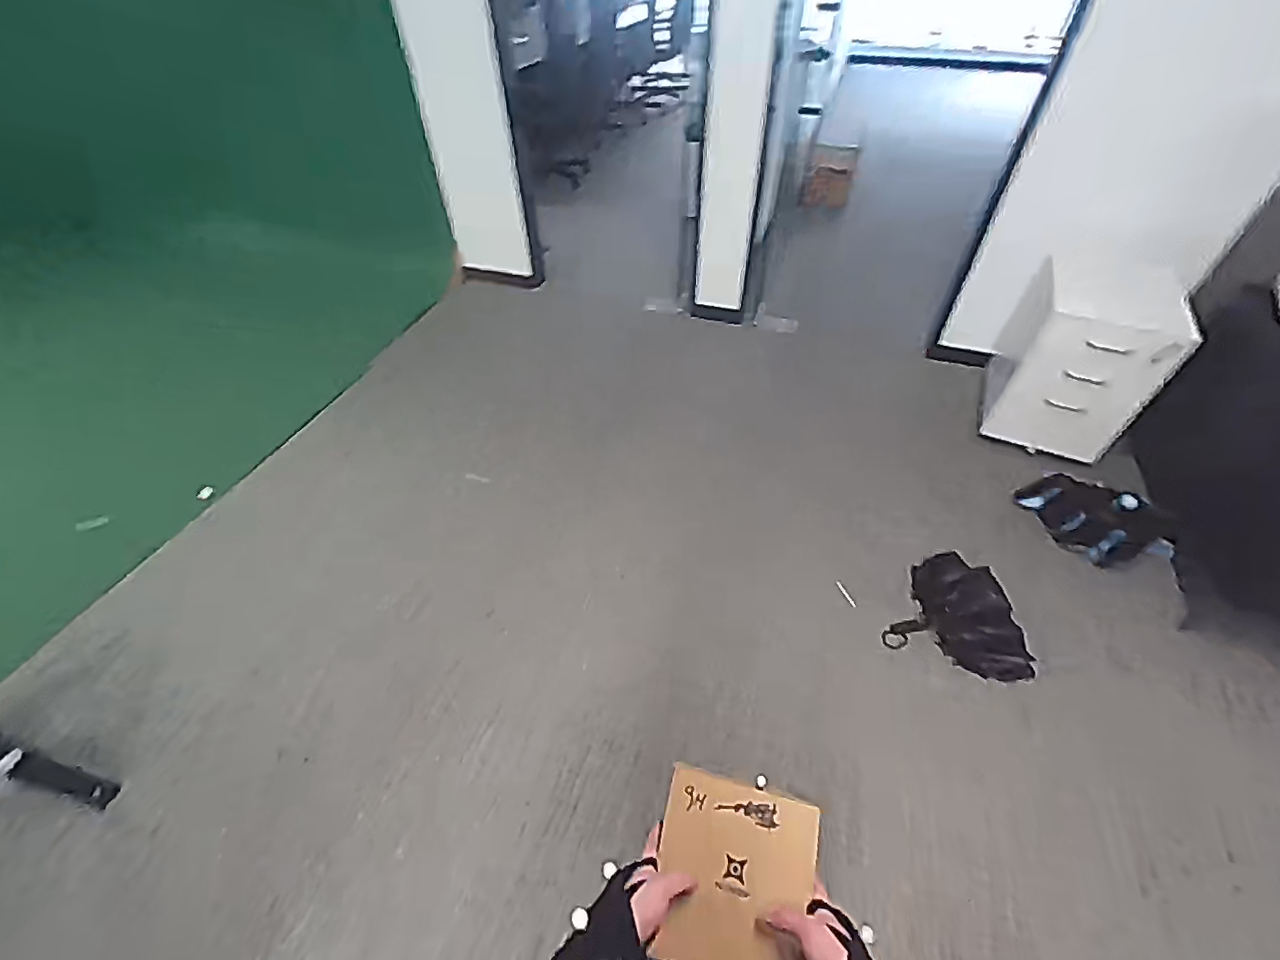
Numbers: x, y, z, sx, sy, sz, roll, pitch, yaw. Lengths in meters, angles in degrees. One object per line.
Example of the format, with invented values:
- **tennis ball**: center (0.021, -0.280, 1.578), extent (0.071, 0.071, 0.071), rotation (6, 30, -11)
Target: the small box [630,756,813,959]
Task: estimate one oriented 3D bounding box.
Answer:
- **small box**: center (0.093, 0.443, 0.636), extent (0.168, 0.176, 0.179), rotation (11, 67, 8)
